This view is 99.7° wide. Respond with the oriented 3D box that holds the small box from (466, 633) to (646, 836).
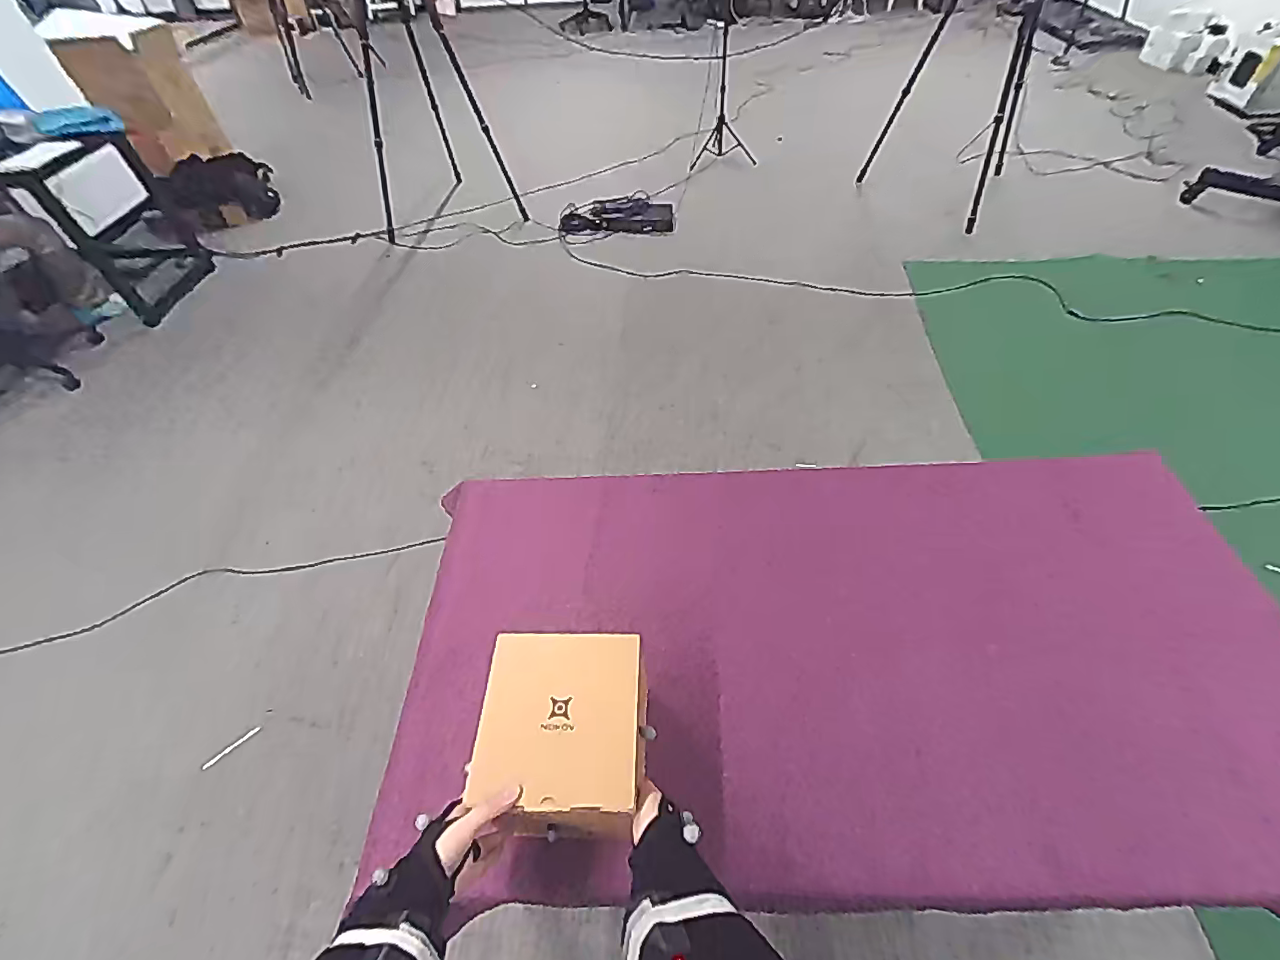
[{"bbox_3d":[-0.079,0.293,0.621,0.168,0.176,0.179,-1,51,3],"label":"small box"}]
